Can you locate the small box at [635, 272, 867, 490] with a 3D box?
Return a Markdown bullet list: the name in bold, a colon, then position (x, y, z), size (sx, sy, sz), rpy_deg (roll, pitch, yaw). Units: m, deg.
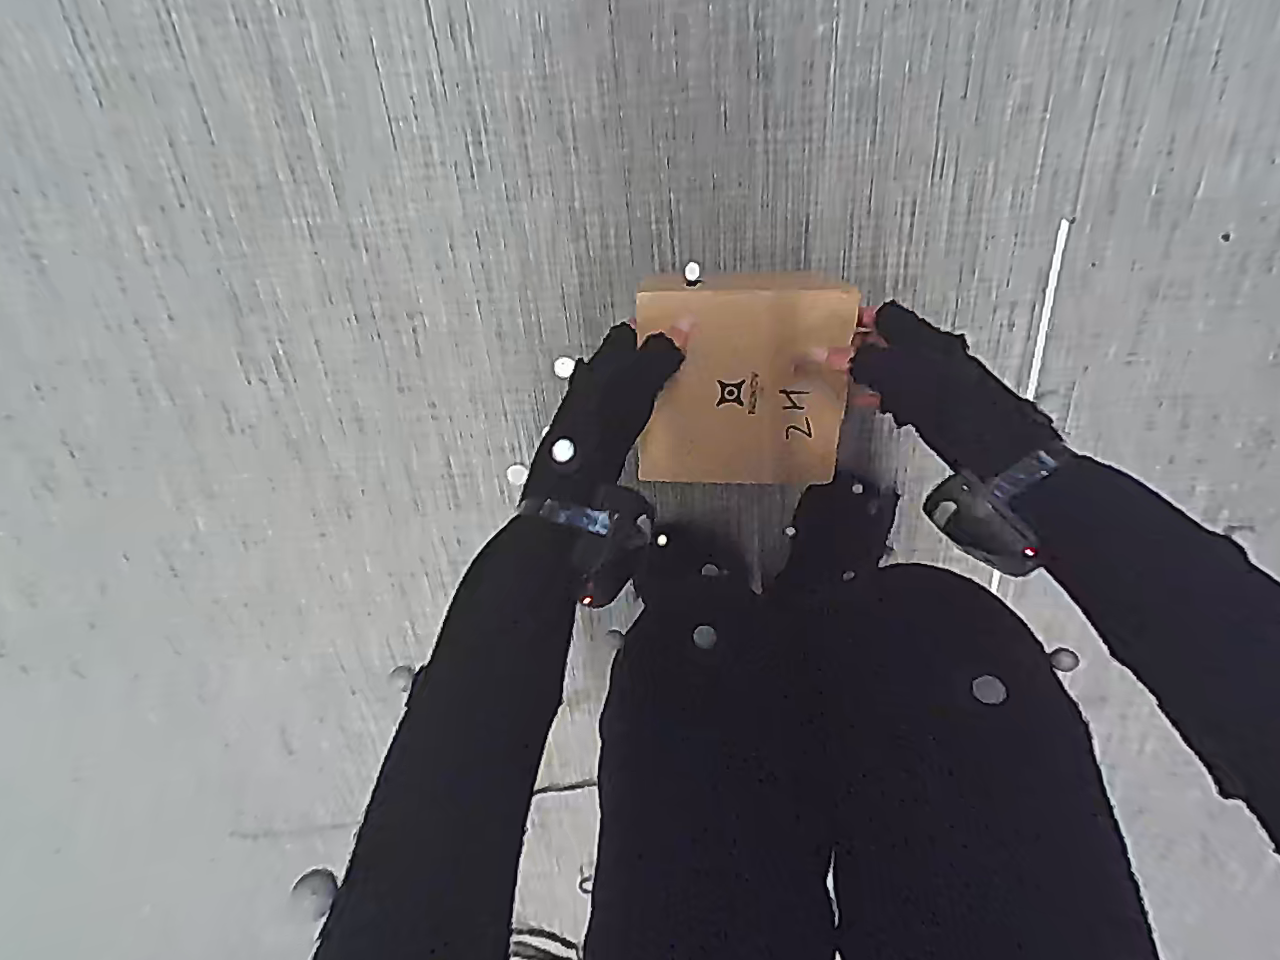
- **small box**: position (0.090, -0.103, 0.516), size (0.179, 0.176, 0.168), rpy_deg (2, 116, 4)
